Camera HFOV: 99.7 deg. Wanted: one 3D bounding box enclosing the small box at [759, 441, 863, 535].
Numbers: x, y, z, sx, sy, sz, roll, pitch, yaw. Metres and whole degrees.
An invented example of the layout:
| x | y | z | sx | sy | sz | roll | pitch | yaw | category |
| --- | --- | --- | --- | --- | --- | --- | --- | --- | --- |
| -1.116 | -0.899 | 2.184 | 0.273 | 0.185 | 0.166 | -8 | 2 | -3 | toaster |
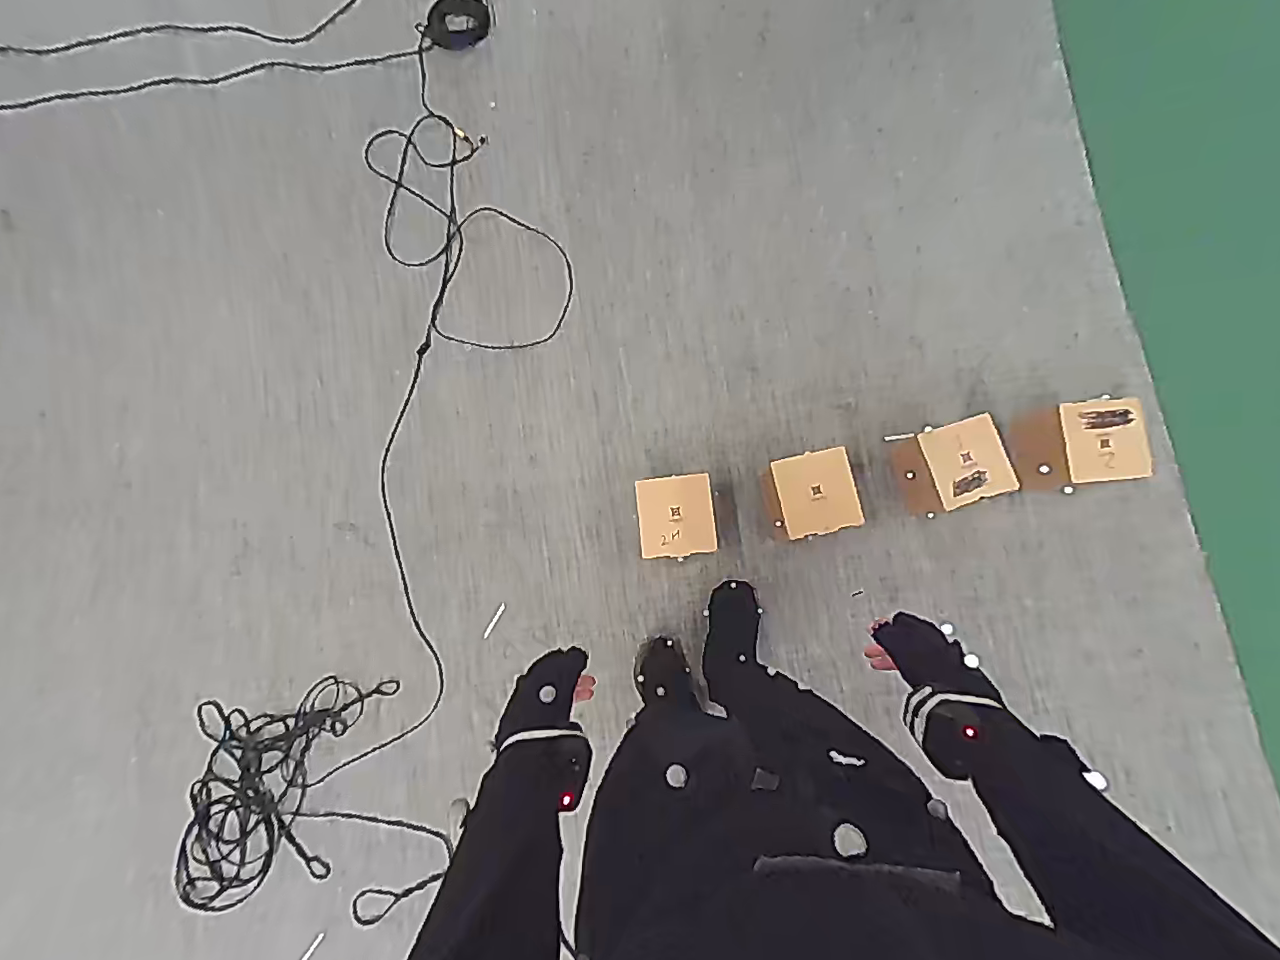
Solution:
| x | y | z | sx | sy | sz | roll | pitch | yaw | category |
| --- | --- | --- | --- | --- | --- | --- | --- | --- | --- |
| 0.382 | 0.024 | 1.240 | 0.168 | 0.176 | 0.179 | -13 | 83 | 3 | small box |

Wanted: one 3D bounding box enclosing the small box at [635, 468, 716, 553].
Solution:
| x | y | z | sx | sy | sz | roll | pitch | yaw | category |
| --- | --- | --- | --- | --- | --- | --- | --- | --- | --- |
| 0.081 | 0.076 | 1.254 | 0.168 | 0.176 | 0.179 | -7 | 83 | 4 | small box |

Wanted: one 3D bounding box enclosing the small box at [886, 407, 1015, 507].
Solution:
| x | y | z | sx | sy | sz | roll | pitch | yaw | category |
| --- | --- | --- | --- | --- | --- | --- | --- | --- | --- |
| 0.692 | -0.043 | 1.226 | 0.168 | 0.176 | 0.179 | -18 | 82 | 1 | small box |
